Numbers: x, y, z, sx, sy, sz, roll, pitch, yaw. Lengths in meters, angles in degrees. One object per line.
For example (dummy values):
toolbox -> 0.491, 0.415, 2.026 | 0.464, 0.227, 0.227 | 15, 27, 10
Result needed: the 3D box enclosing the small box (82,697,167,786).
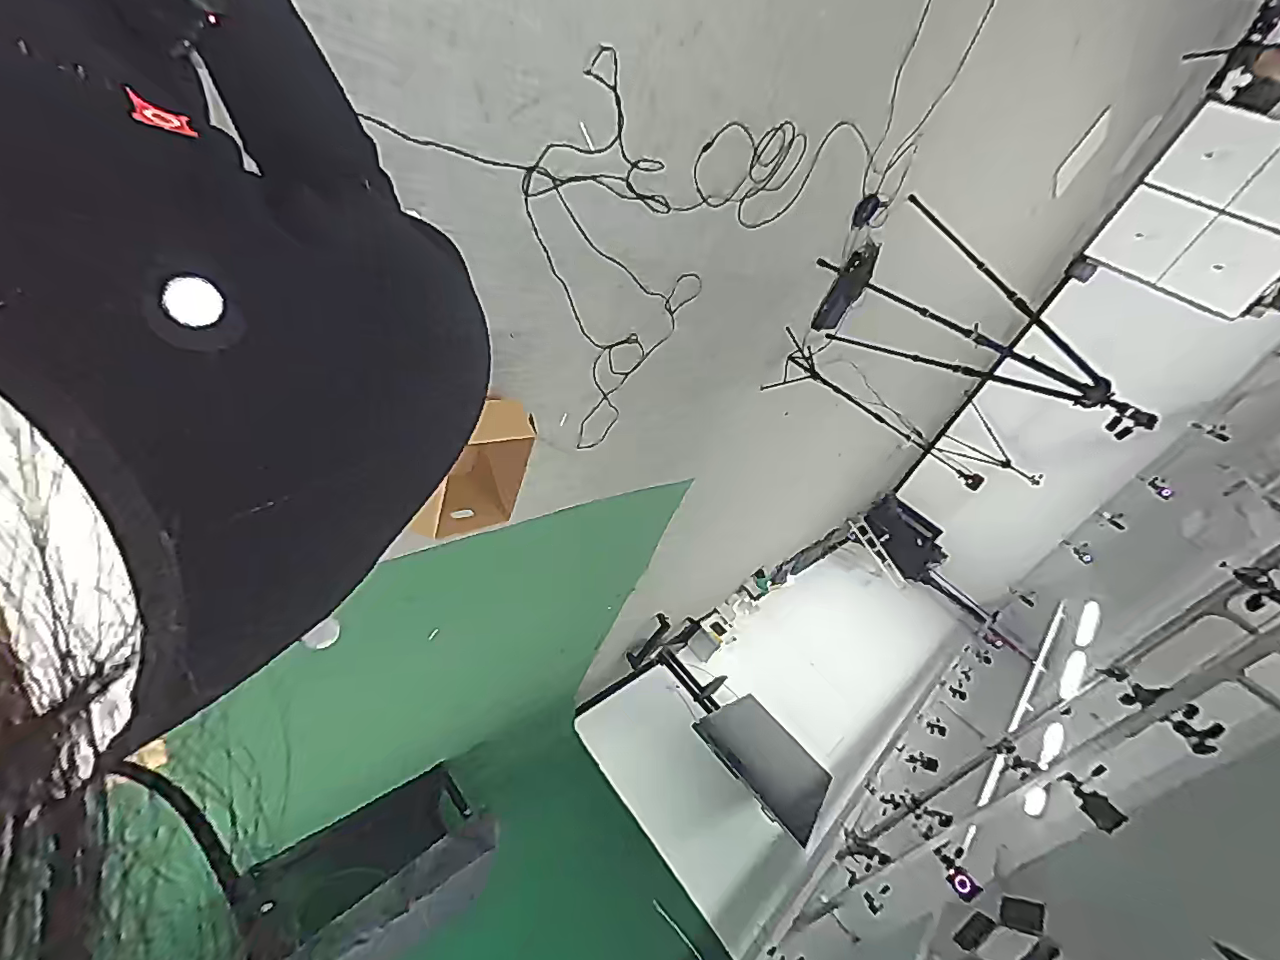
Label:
small box -> -1.732, 0.872, 1.816 | 0.179, 0.176, 0.168 | -19, 143, -44
